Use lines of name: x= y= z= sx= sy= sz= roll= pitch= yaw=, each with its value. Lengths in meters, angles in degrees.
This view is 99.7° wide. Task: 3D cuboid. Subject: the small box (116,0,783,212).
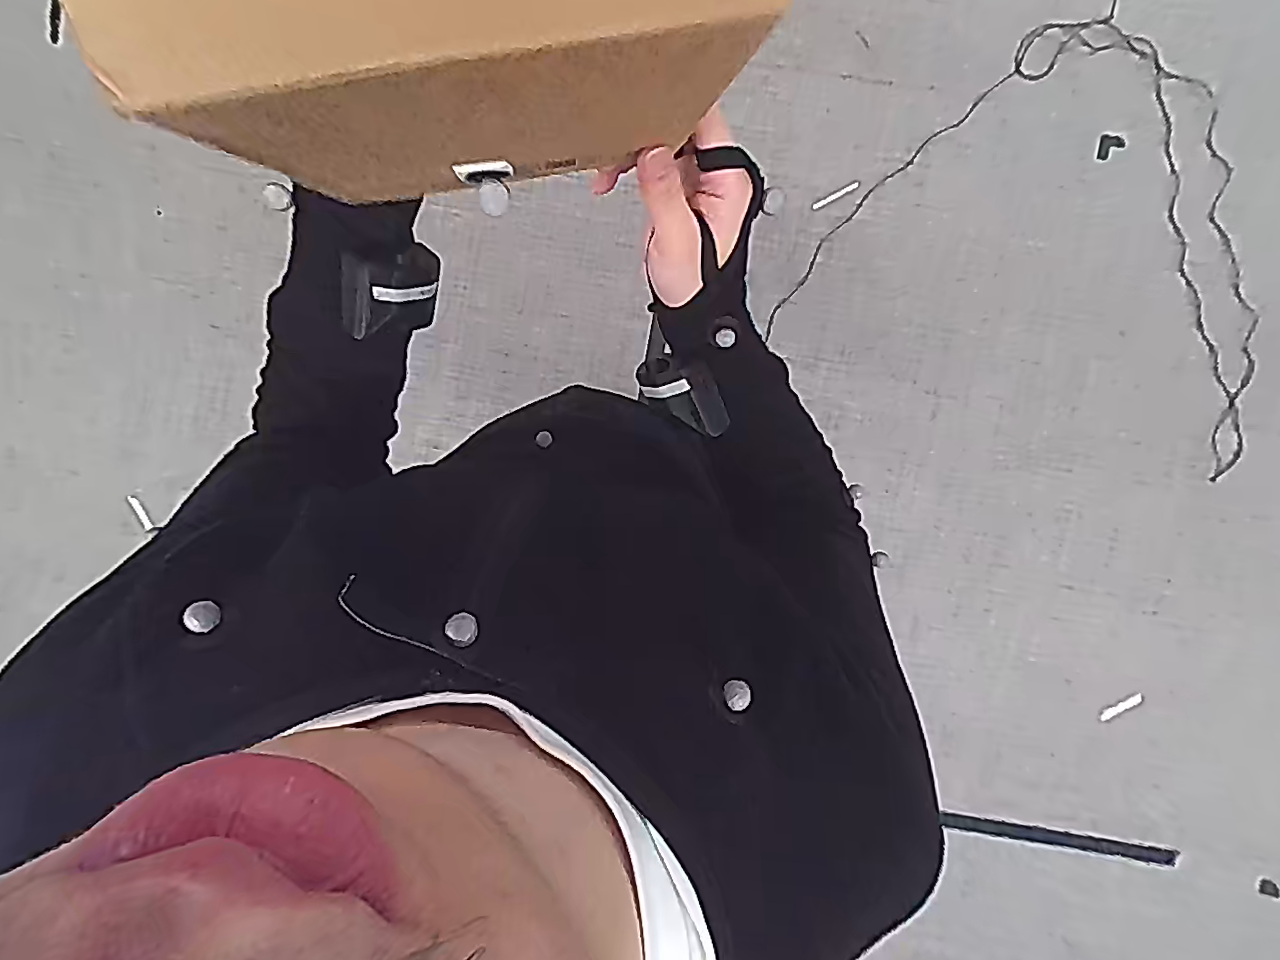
small box: x=-0.065 y=-0.213 z=0.188 sx=0.168 sy=0.176 sz=0.179 roll=-13 pitch=110 yaw=-1
